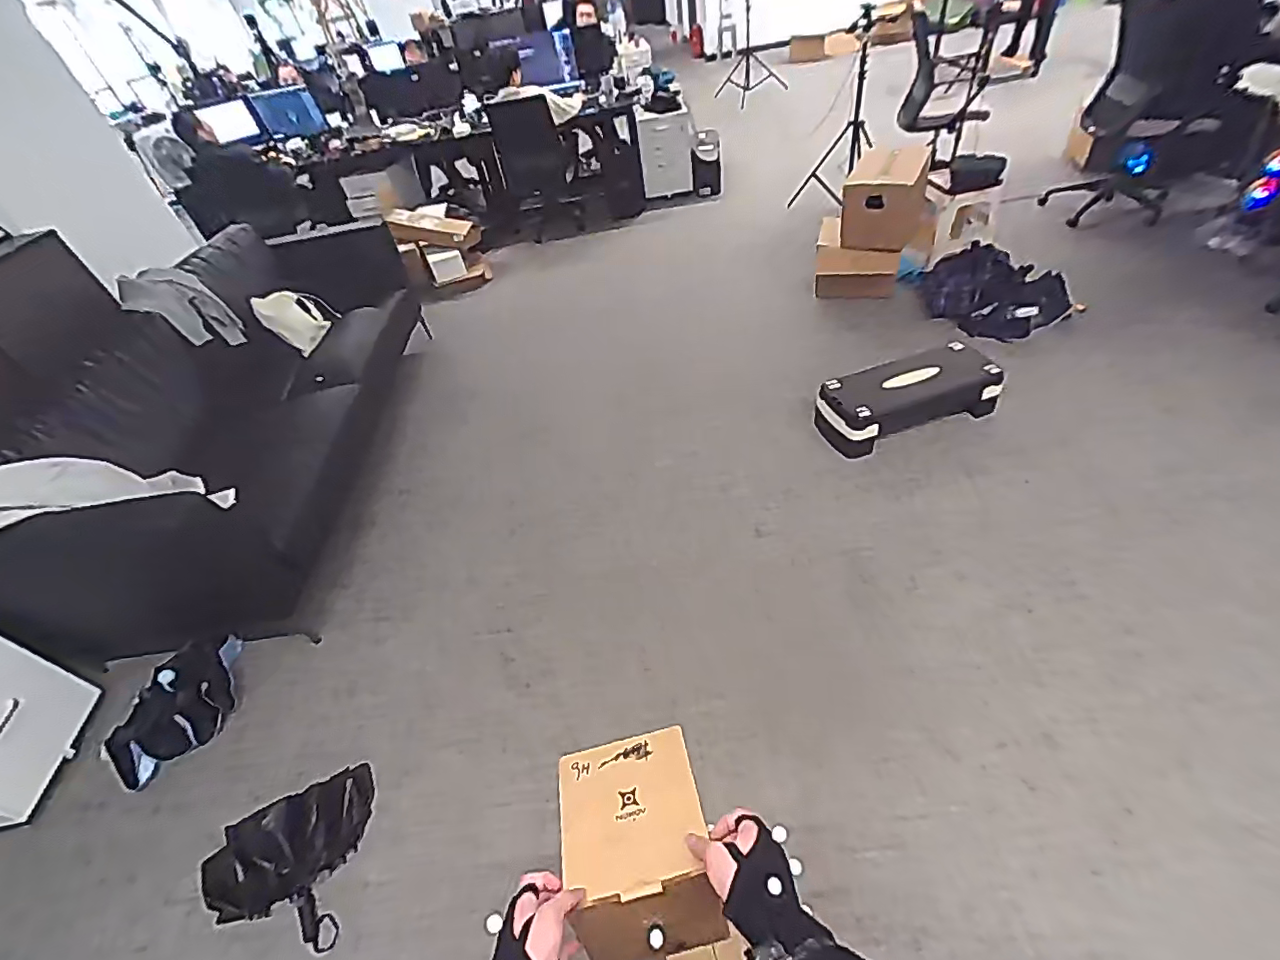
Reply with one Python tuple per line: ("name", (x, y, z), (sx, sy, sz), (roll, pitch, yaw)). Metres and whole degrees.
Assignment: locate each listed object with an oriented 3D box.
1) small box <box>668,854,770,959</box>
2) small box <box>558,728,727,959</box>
("small box", (0.134, 0.840, 1.007), (0.168, 0.176, 0.179), (-18, 46, -5))
("small box", (0.001, 0.451, 0.667), (0.168, 0.176, 0.179), (-14, 30, -1))
